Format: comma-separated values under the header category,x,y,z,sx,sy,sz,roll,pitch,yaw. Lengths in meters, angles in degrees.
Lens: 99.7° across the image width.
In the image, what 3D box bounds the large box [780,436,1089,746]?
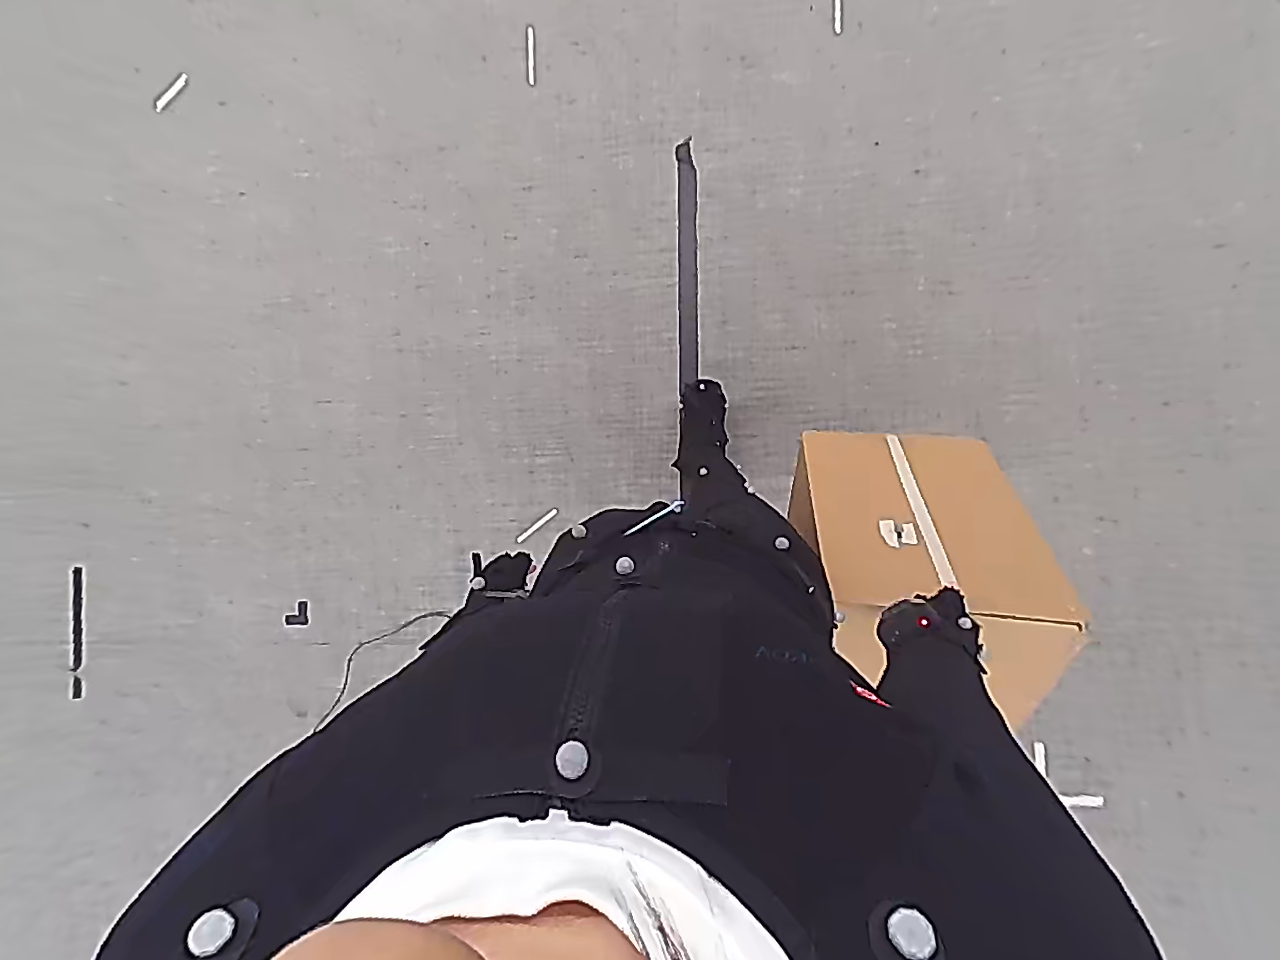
category,x,y,z,sx,sy,sz,roll,pitch,yaw
large box,0.426,0.168,0.920,0.320,0.408,0.320,3,128,8
